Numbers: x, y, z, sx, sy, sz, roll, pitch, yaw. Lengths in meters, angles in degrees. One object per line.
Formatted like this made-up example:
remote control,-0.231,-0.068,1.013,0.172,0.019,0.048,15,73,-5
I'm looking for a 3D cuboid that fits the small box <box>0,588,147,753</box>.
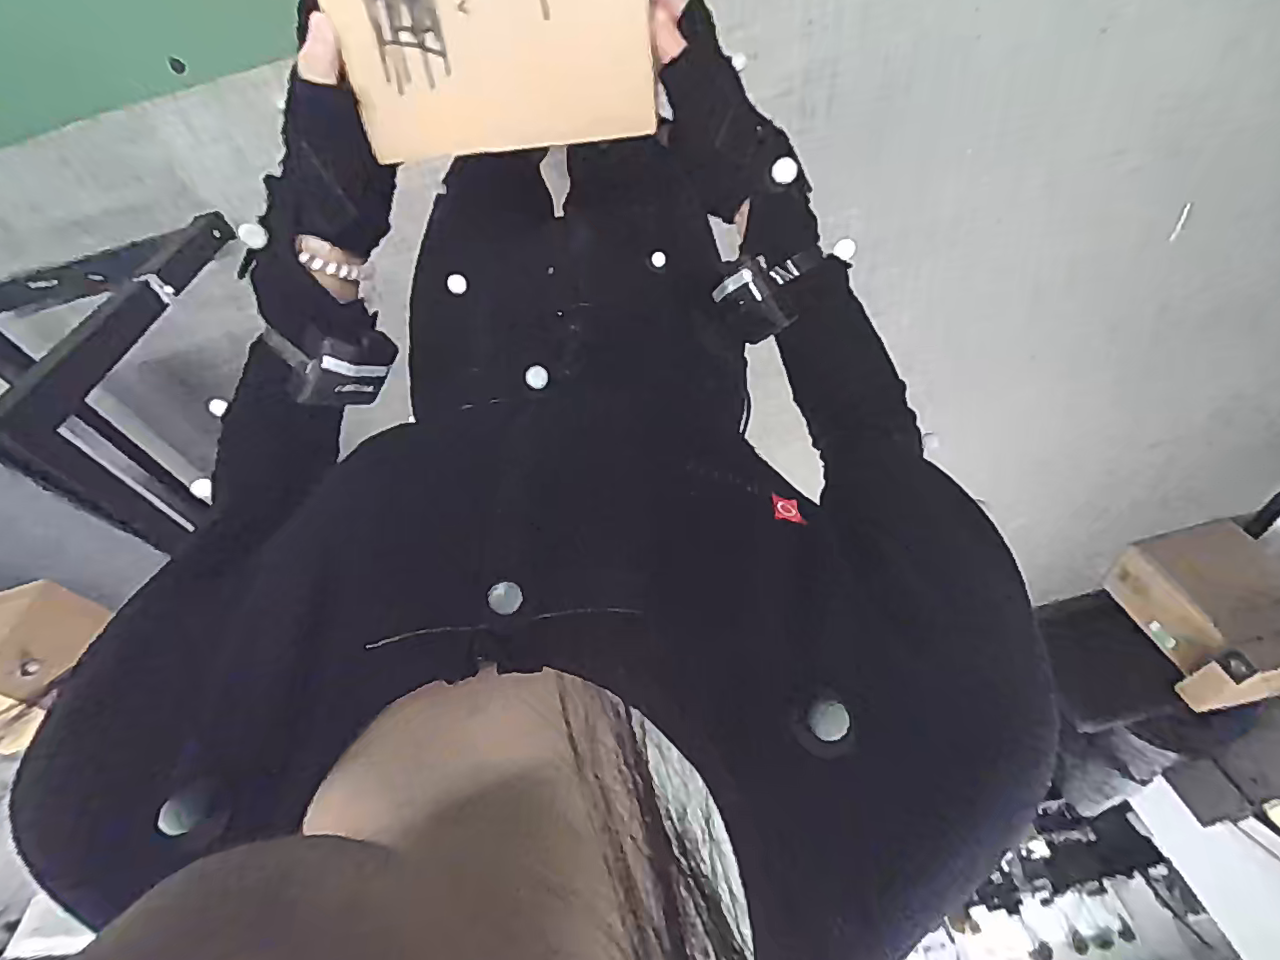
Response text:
small box,-0.916,0.278,0.809,0.168,0.176,0.179,-16,137,3
